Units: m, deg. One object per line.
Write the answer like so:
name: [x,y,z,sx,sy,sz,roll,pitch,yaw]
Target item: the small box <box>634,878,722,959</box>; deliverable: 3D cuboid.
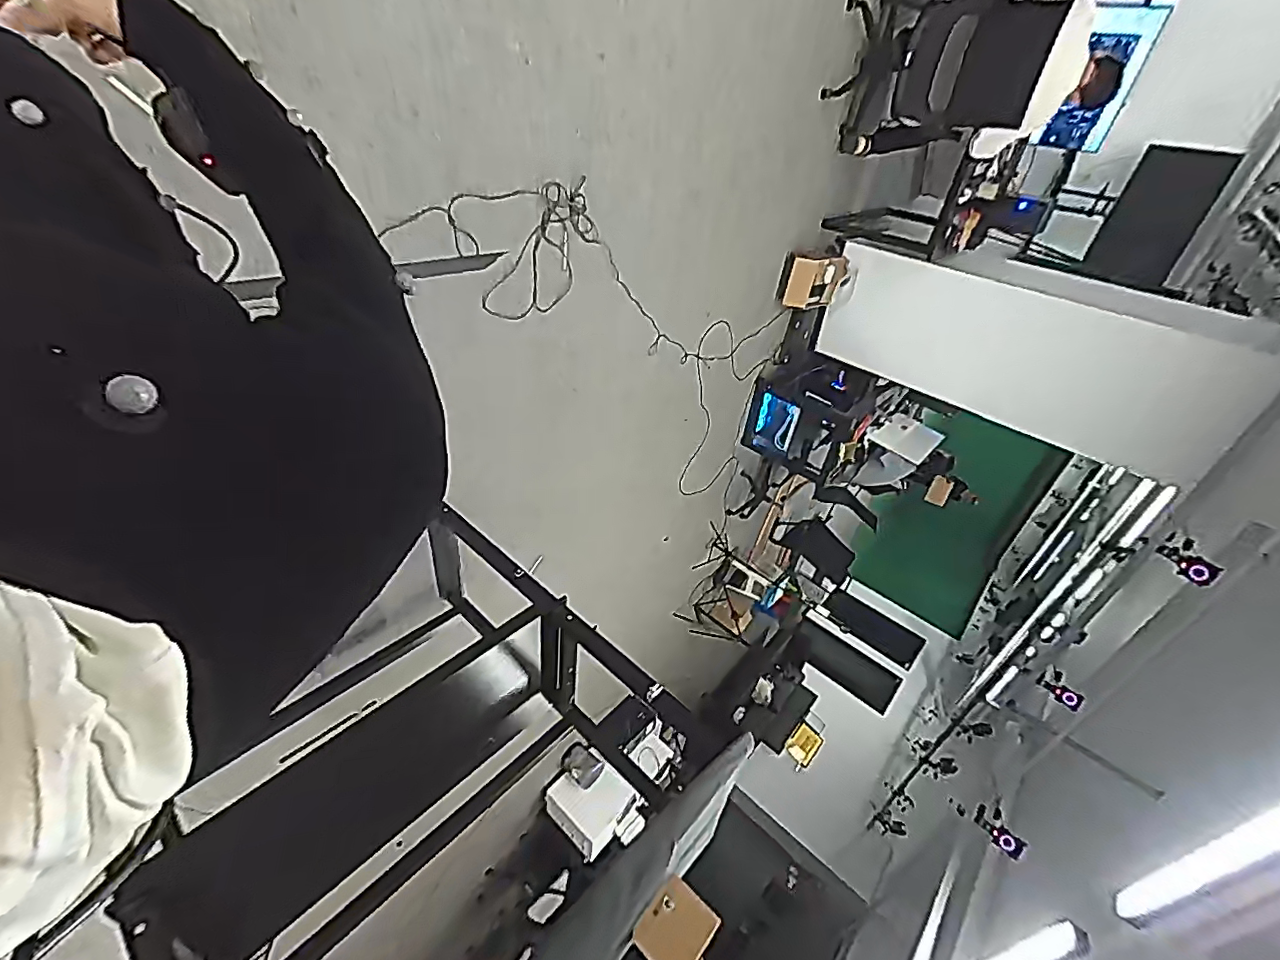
small box: [0.098,1.230,1.464,0.168,0.176,0.179,-35,143,-36]
